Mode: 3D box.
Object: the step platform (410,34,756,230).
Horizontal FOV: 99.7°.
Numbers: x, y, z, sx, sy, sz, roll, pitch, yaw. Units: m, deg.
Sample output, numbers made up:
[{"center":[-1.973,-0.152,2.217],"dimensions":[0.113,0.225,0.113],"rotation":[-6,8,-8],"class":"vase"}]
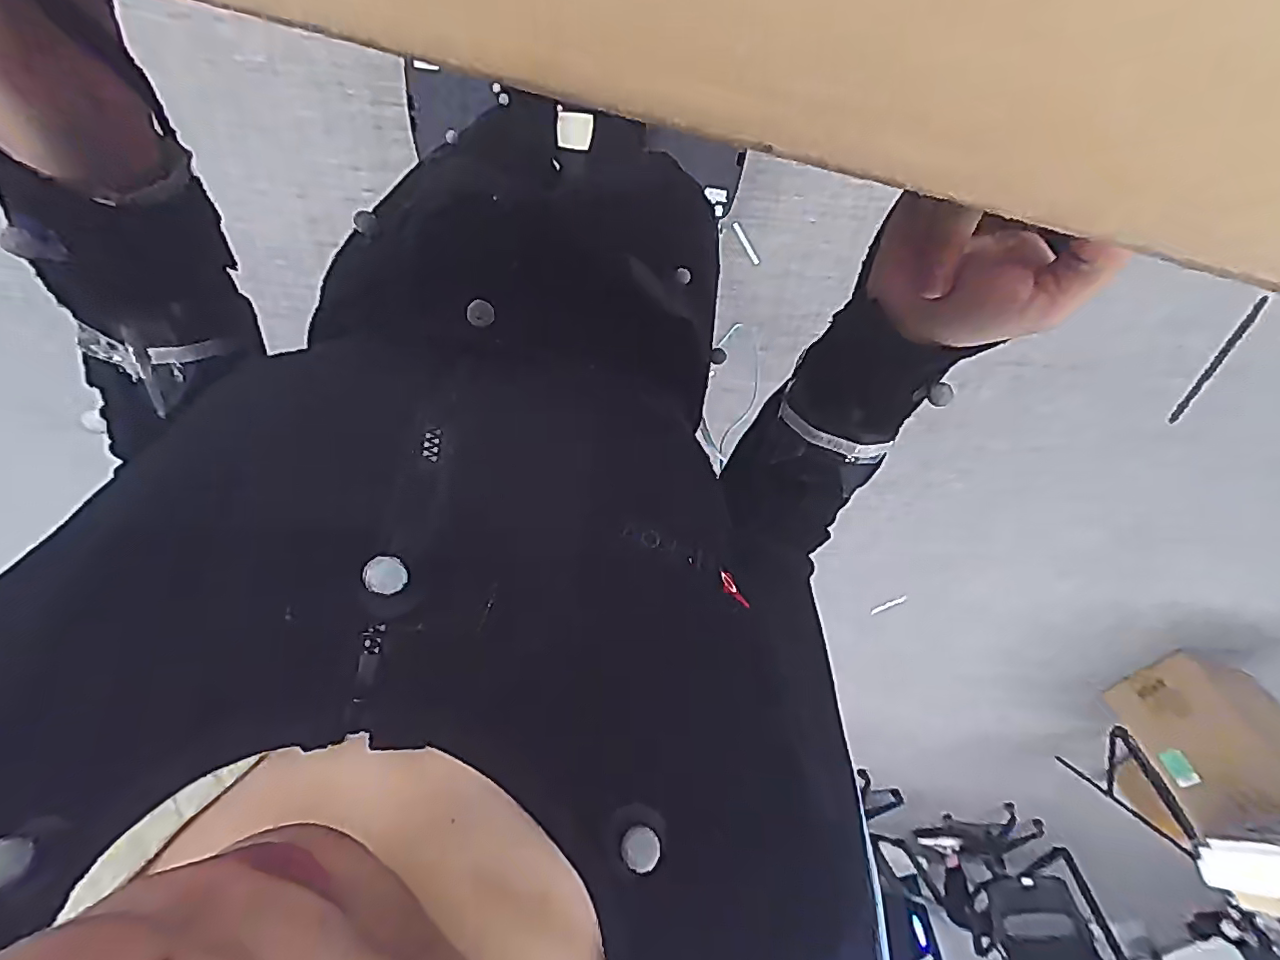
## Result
[{"center":[-0.108,-0.737,1.123],"dimensions":[0.684,0.204,0.286],"rotation":[8,129,-6],"class":"step platform"}]
